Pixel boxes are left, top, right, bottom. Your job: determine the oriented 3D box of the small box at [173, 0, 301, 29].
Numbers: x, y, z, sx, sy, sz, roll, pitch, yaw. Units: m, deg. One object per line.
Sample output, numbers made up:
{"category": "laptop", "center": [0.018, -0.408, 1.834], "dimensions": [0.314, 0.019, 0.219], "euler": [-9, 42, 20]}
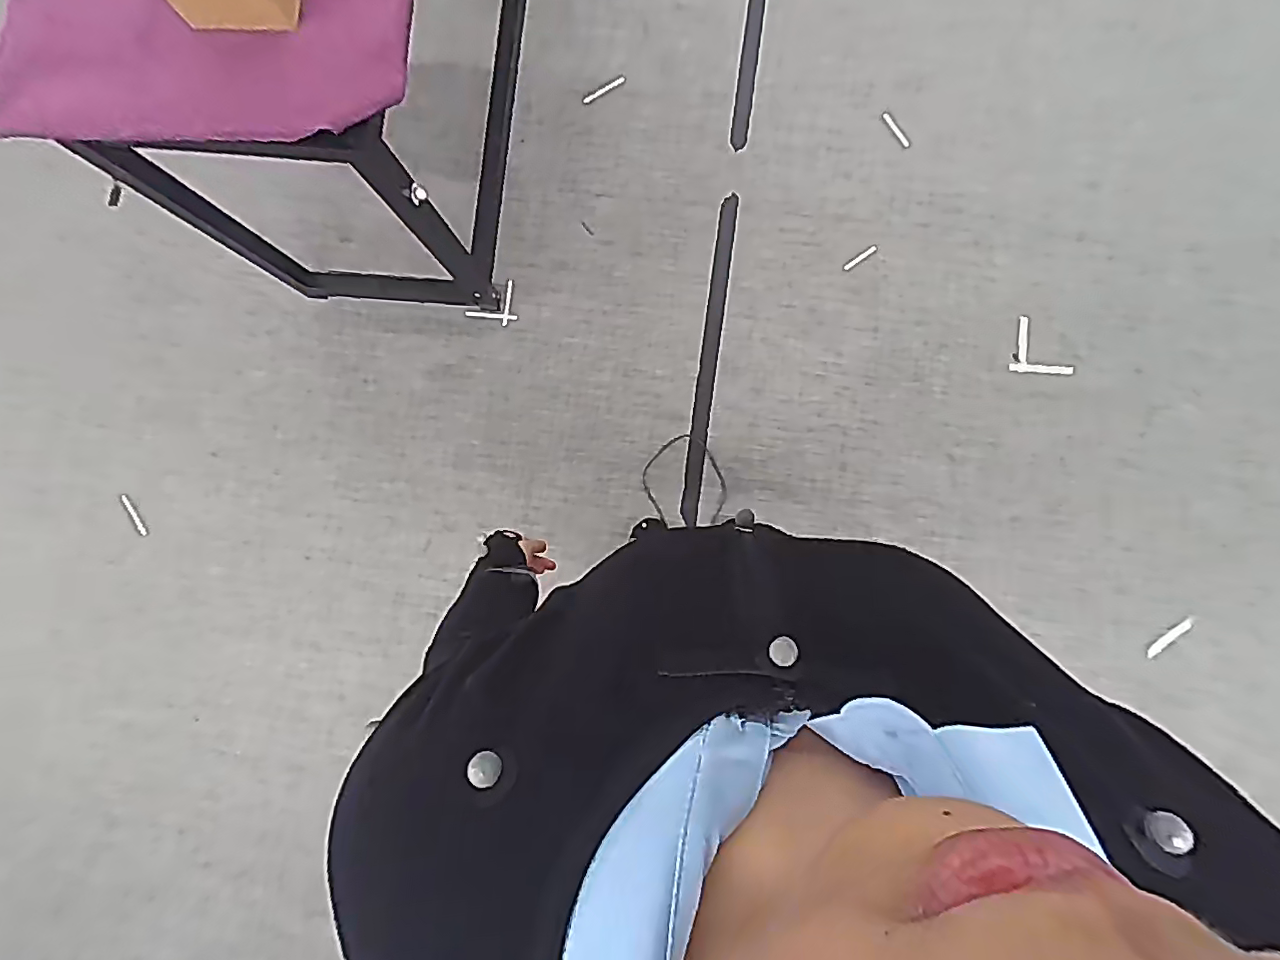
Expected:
{"category": "small box", "center": [-0.624, -0.802, 0.783], "dimensions": [0.179, 0.176, 0.168], "euler": [4, 85, 2]}
